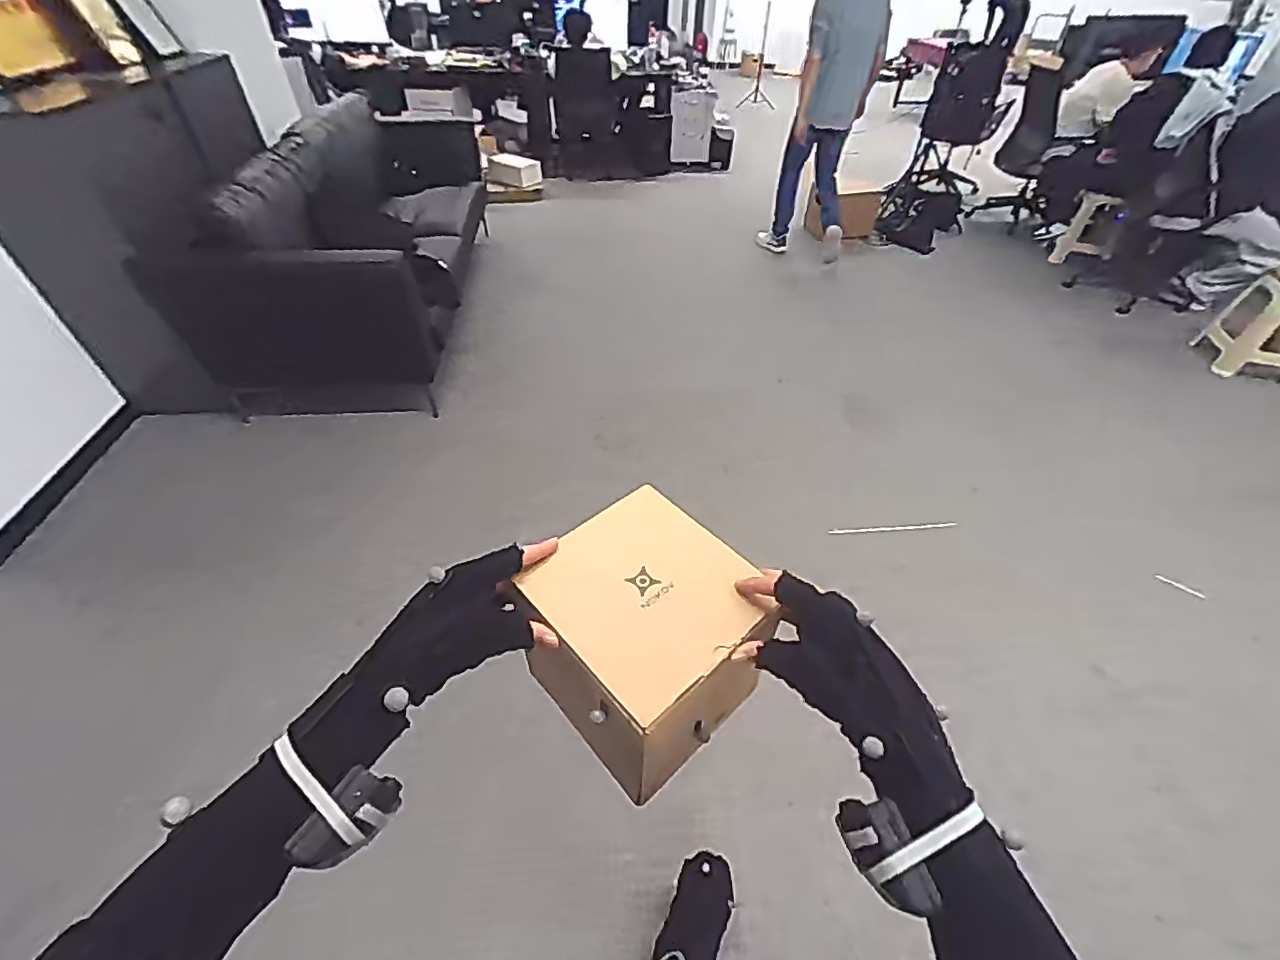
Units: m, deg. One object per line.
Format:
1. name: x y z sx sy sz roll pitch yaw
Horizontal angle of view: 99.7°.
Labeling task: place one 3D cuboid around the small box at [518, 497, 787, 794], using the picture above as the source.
1. small box: 0.005 0.154 0.516 0.168 0.176 0.179 -31 53 -30
